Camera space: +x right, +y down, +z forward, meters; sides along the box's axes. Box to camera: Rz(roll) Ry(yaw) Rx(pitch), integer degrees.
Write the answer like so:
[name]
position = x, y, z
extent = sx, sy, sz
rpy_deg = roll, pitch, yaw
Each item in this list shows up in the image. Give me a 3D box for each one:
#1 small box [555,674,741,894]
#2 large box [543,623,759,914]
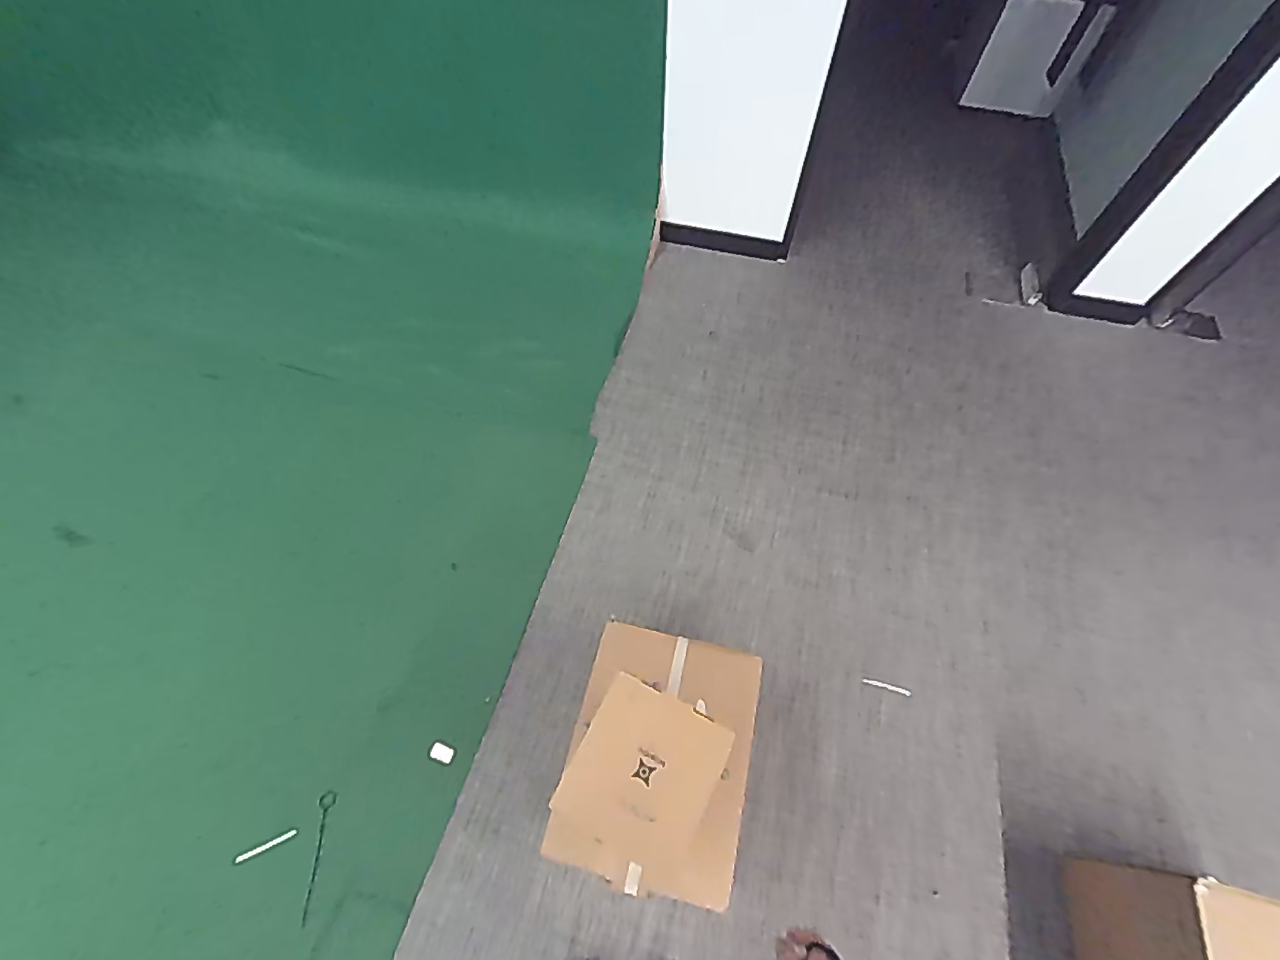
[small box]
position = 0.012, 0.386, 0.706
extent = 0.168, 0.176, 0.179
rpy_deg = 25, 65, 15
[large box]
position = 0.036, 0.554, 1.077
extent = 0.320, 0.320, 0.408
rpy_deg = 13, 60, 7
